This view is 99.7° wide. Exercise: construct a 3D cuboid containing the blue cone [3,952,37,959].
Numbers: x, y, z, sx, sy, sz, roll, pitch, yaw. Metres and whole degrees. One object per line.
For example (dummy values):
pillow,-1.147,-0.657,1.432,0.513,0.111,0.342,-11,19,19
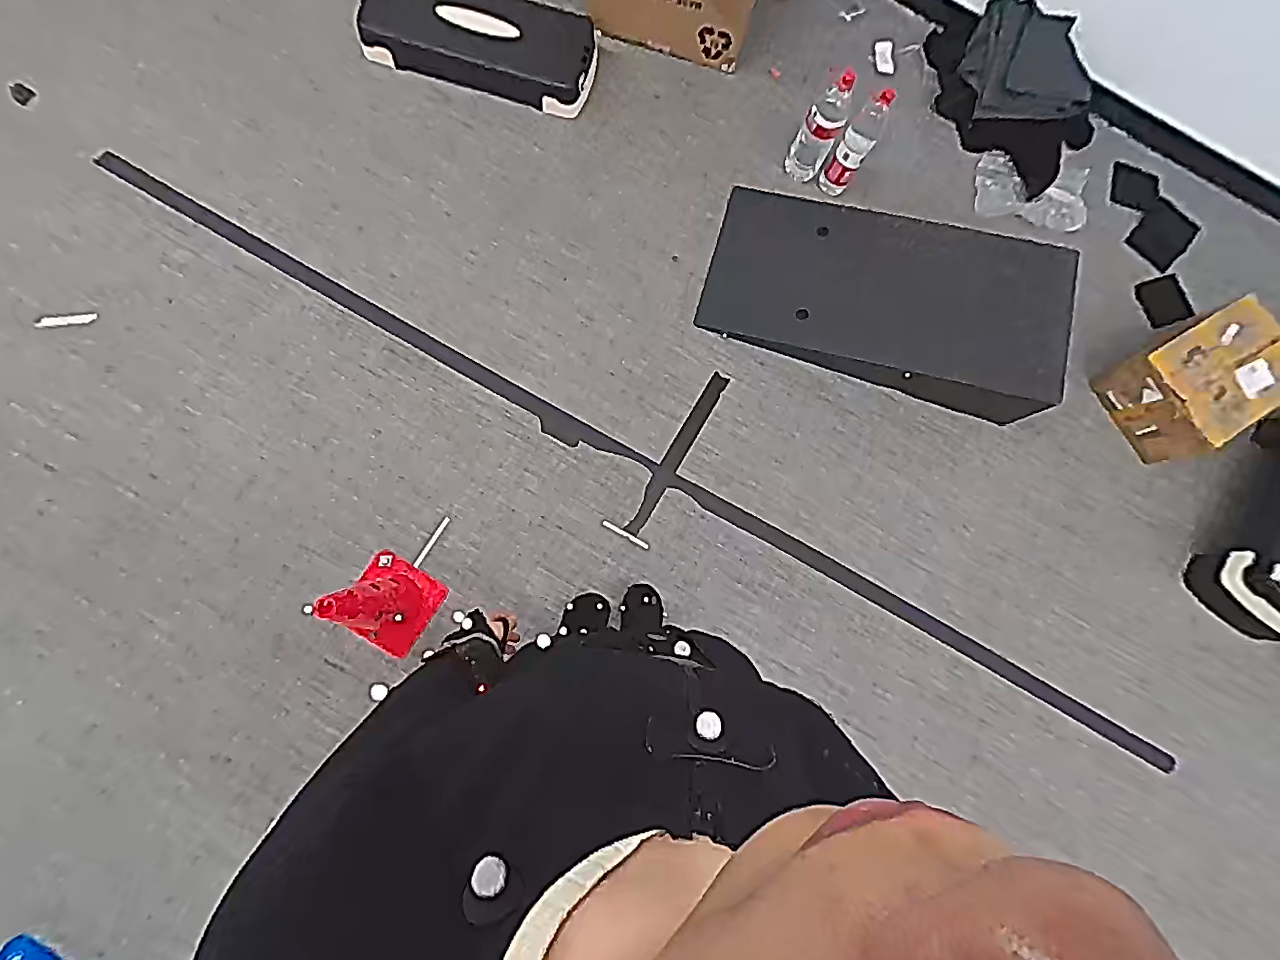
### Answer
blue cone,-1.234,1.041,0.922,0.193,0.380,0.192,33,77,1
